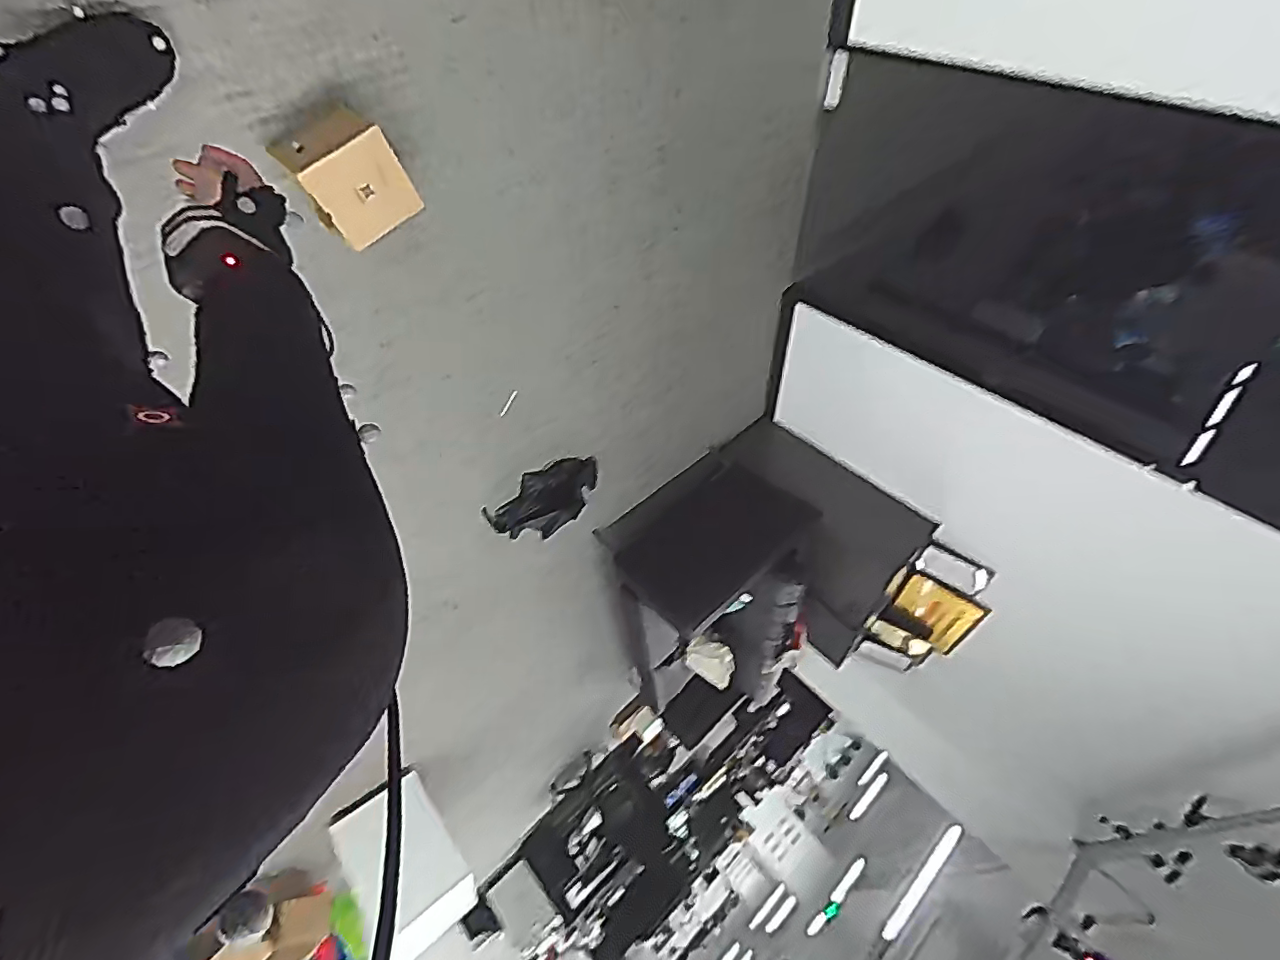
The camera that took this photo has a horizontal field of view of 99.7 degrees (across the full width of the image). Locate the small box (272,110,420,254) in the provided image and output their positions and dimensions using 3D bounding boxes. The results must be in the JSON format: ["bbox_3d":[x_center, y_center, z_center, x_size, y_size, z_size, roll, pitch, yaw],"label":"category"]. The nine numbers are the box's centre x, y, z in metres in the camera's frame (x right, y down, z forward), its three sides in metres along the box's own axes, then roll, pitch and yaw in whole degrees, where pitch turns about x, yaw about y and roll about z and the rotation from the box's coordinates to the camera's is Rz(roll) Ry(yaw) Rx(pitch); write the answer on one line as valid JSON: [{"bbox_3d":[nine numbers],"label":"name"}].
[{"bbox_3d":[-0.582,-0.588,1.065,0.179,0.176,0.168,-44,151,-13],"label":"small box"}]
